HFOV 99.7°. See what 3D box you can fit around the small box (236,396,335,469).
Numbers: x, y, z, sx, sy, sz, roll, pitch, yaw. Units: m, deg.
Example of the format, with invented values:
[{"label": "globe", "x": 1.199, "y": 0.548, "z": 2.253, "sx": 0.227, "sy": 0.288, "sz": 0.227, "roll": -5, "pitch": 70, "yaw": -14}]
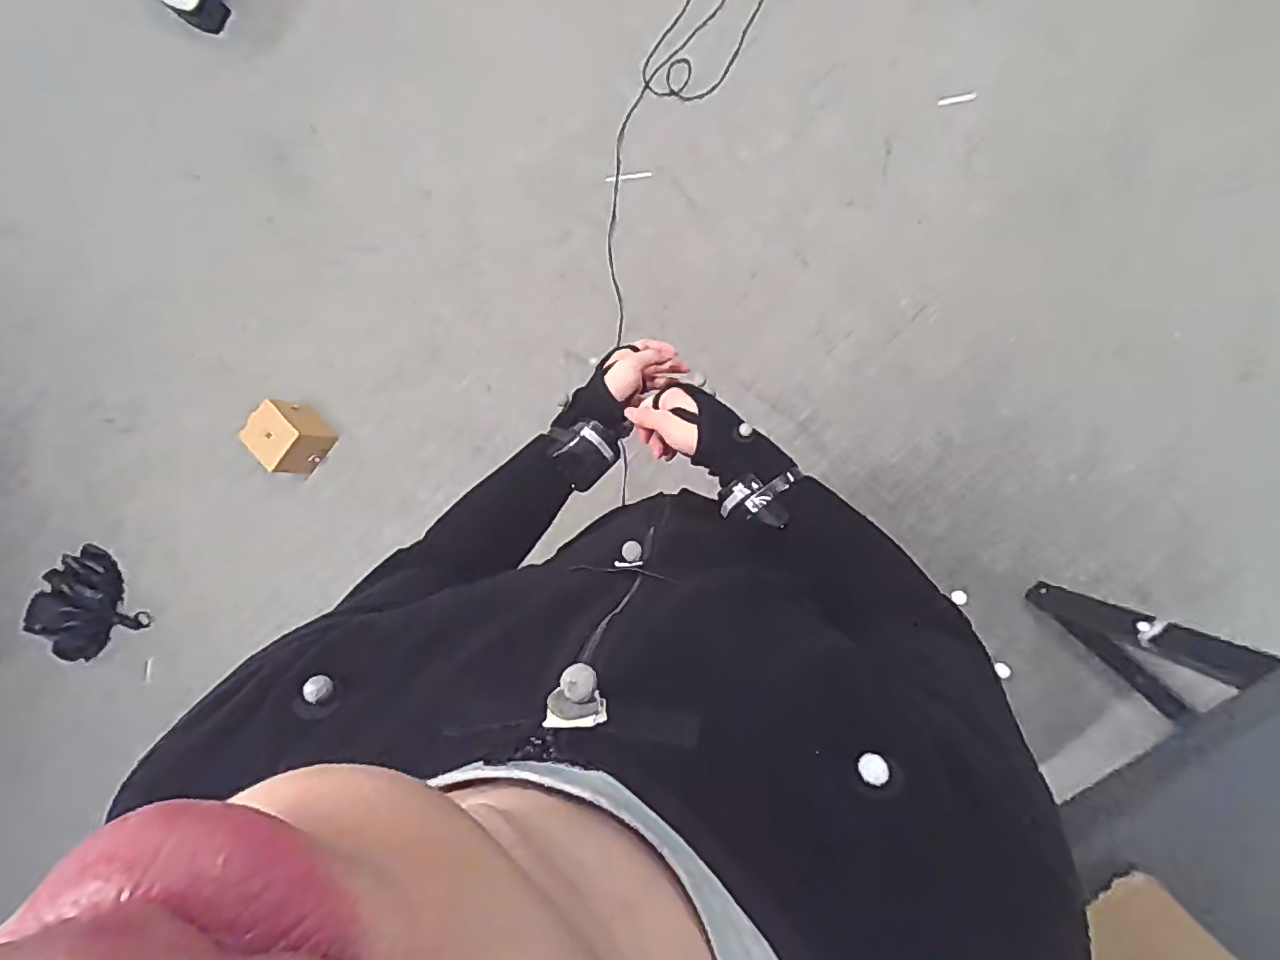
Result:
[{"label": "small box", "x": -1.151, "y": -0.148, "z": 1.765, "sx": 0.179, "sy": 0.176, "sz": 0.168, "roll": 43, "pitch": 99, "yaw": 8}]
